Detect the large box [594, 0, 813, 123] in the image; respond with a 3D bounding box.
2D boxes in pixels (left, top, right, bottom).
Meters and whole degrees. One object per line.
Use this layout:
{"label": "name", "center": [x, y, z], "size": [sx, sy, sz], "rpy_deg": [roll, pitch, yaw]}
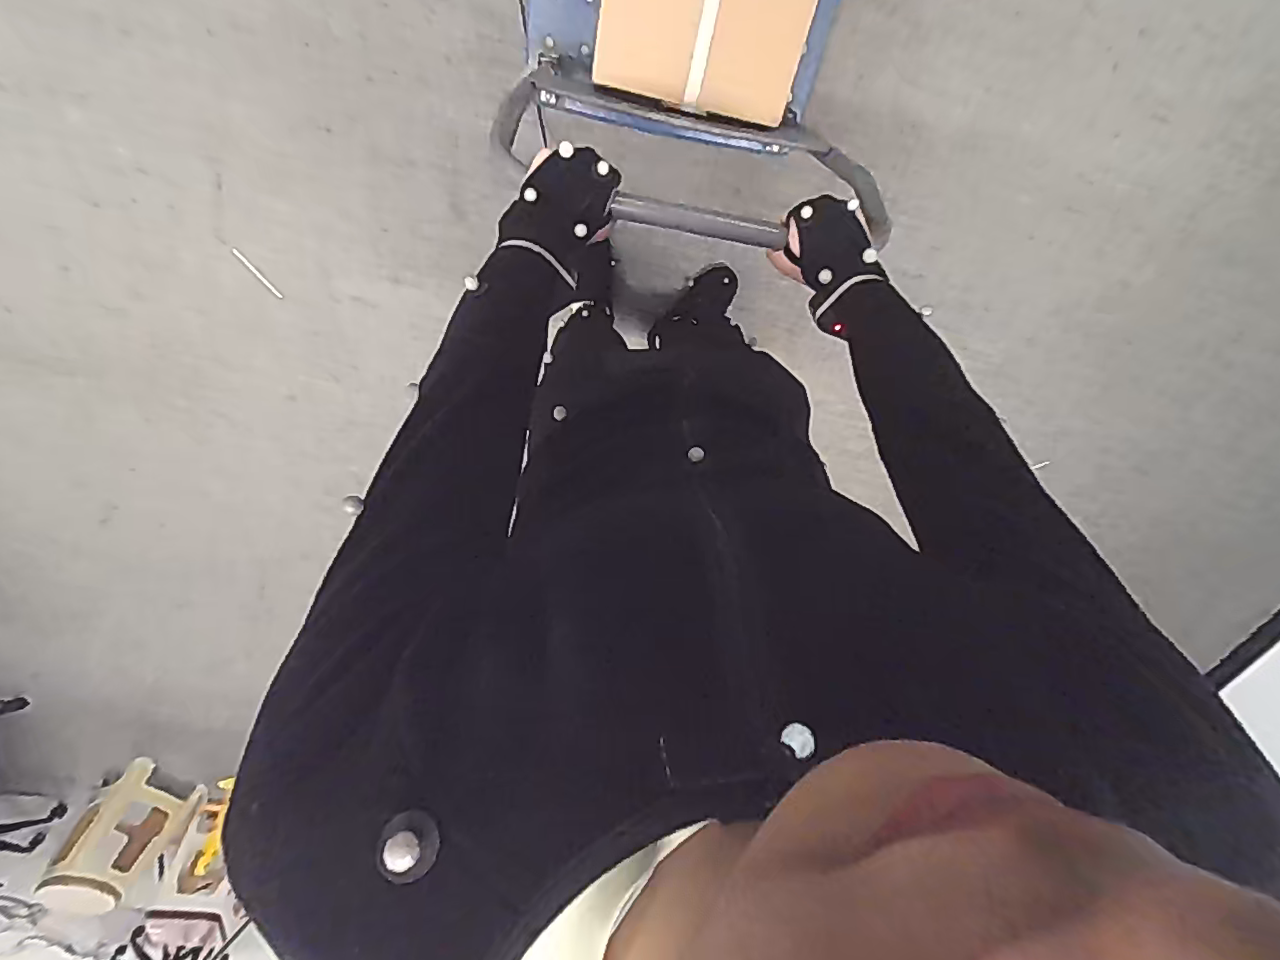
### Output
{"label": "large box", "center": [0.109, -0.850, 0.870], "size": [0.320, 0.320, 0.408], "rpy_deg": [8, 127, -8]}
